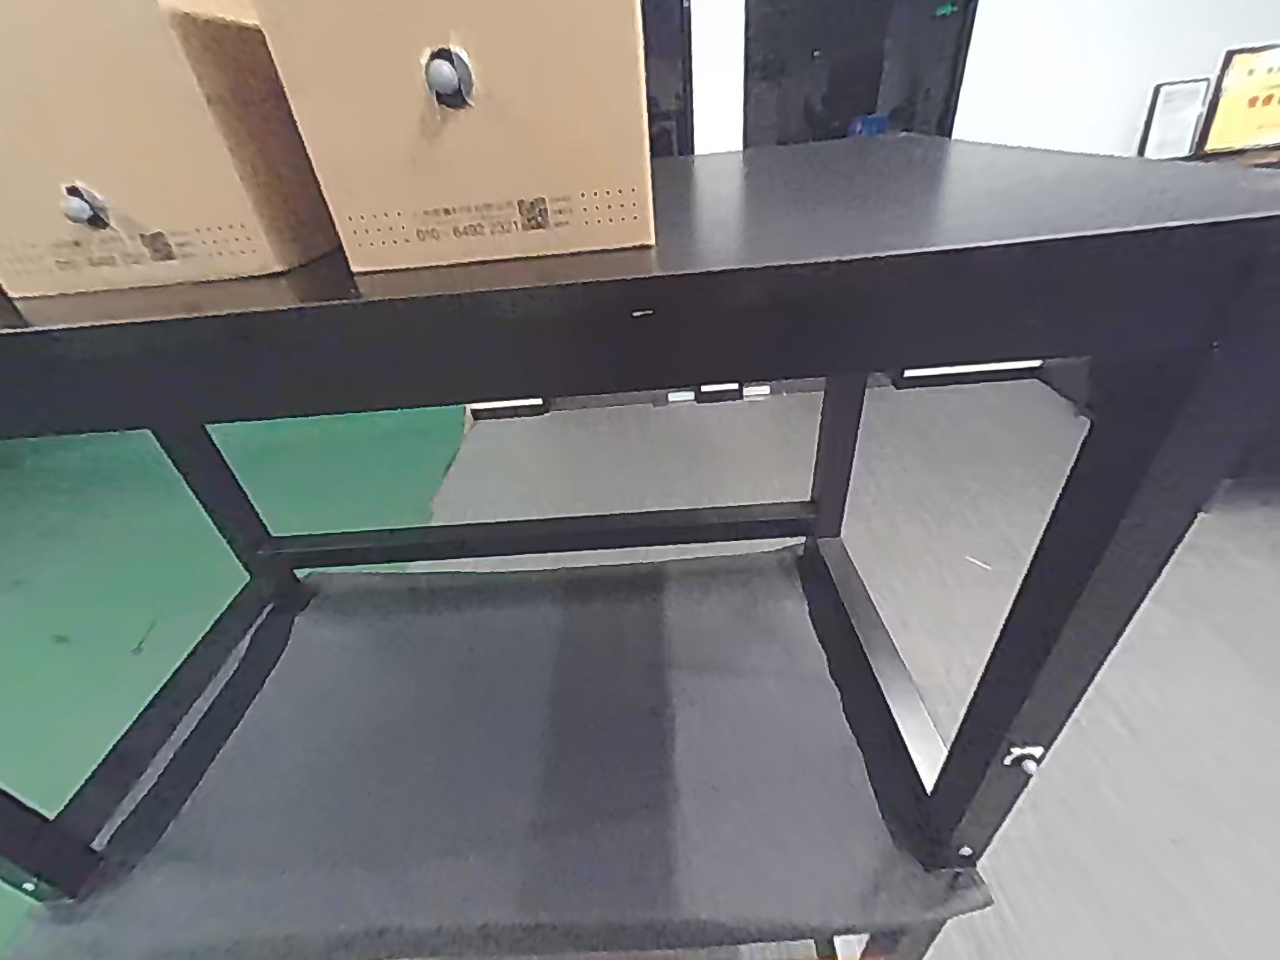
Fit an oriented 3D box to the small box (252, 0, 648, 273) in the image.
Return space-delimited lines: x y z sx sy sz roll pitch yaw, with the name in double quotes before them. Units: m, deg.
"small box" -0.084 -0.226 0.318 0.168 0.176 0.179 -4 34 2
